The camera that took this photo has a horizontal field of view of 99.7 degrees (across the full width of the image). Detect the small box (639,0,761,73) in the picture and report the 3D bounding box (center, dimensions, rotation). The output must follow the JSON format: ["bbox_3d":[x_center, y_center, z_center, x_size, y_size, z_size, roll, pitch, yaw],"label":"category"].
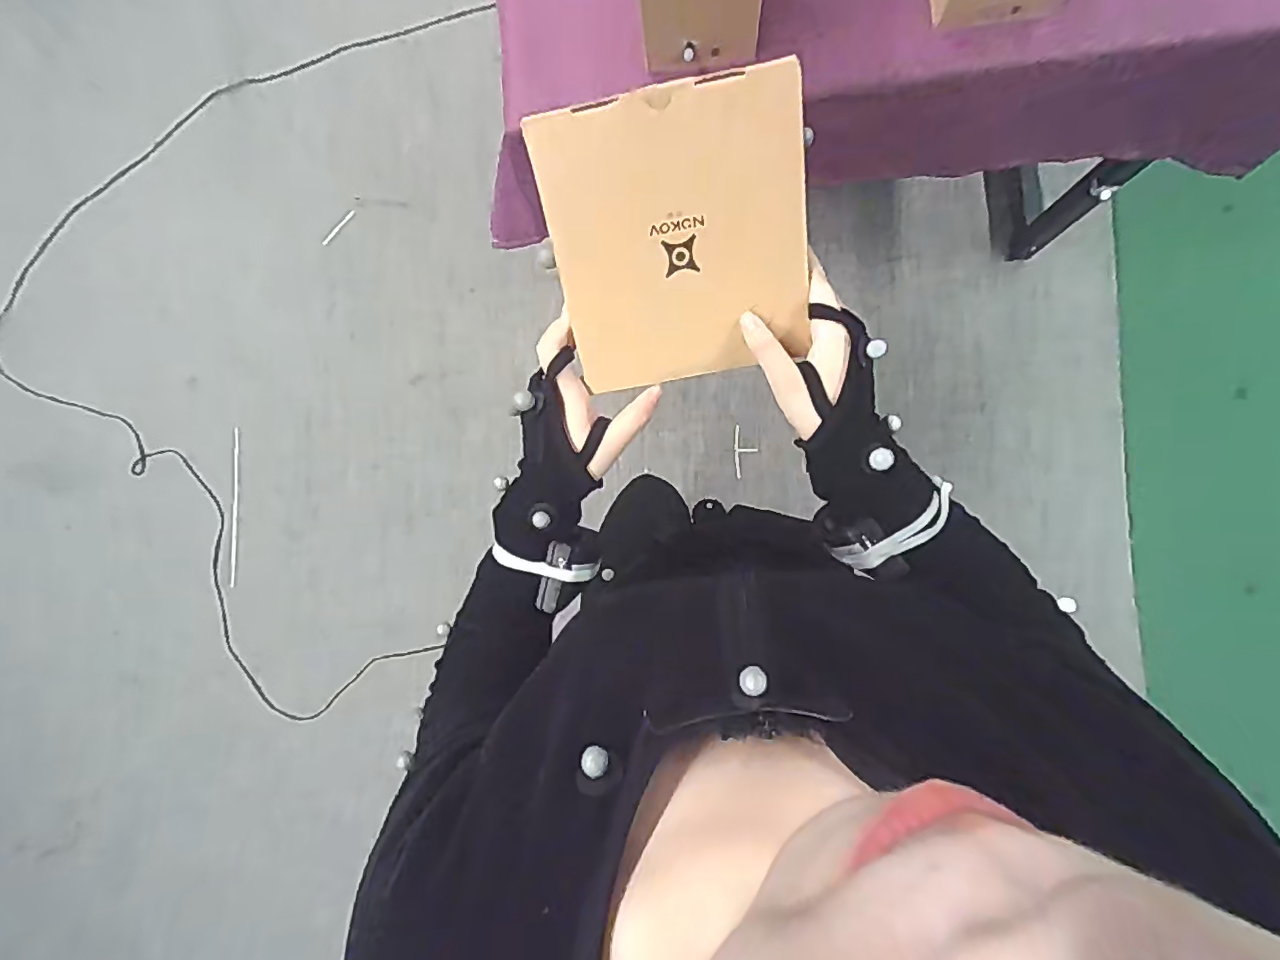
[{"bbox_3d":[0.080,-0.719,0.751,0.168,0.176,0.179,-3,87,7],"label":"small box"}]

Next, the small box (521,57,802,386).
[{"bbox_3d":[0.023,-0.195,0.425,0.168,0.176,0.179,-10,118,4],"label":"small box"}]
